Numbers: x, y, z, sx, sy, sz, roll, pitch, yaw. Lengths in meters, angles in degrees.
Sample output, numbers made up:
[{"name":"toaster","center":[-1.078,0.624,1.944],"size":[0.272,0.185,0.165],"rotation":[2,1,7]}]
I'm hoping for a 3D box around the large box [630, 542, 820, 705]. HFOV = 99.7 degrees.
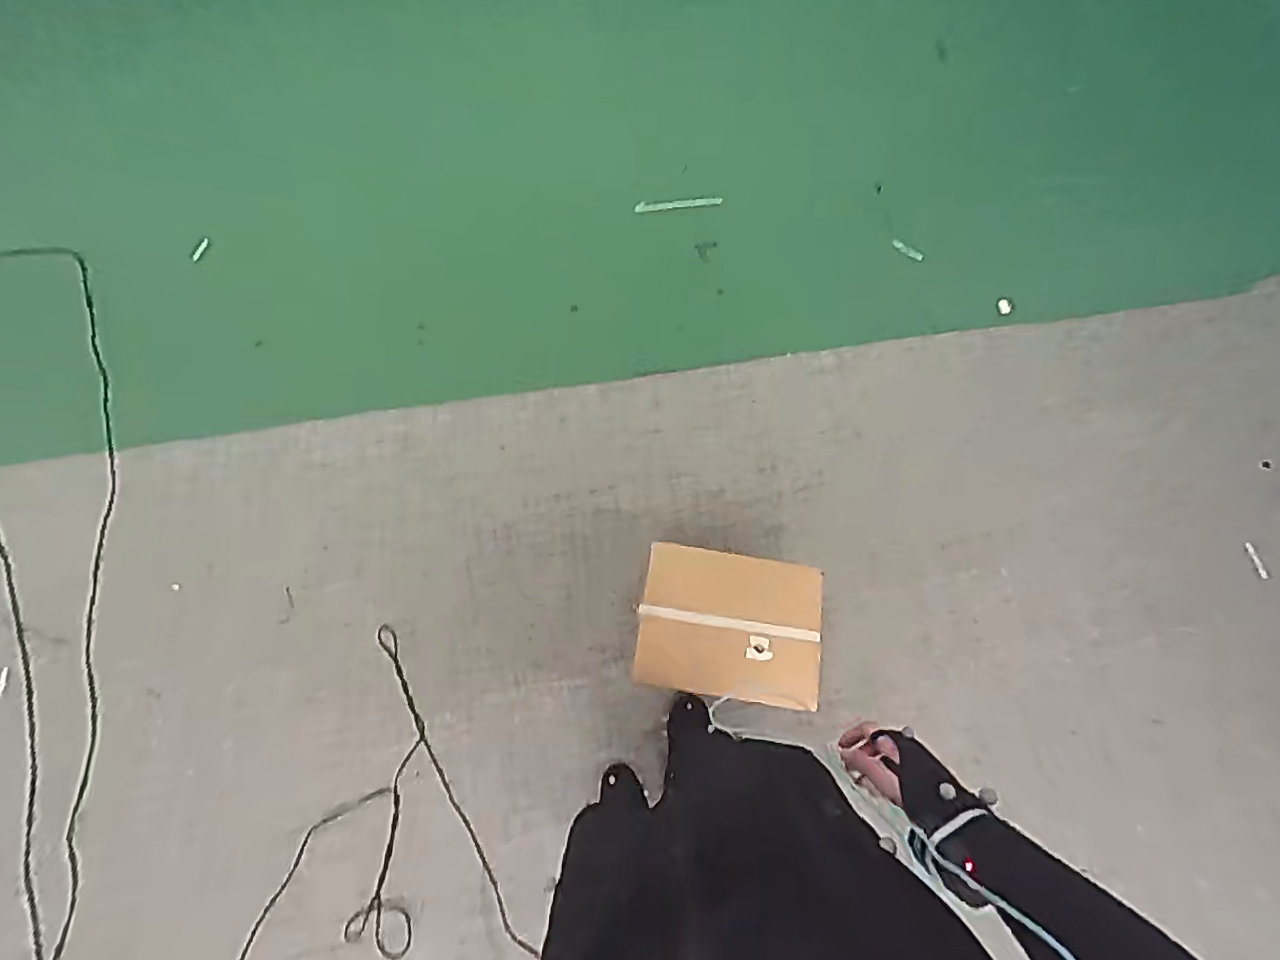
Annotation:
[{"name":"large box","center":[0.194,0.363,1.349],"size":[0.408,0.320,0.320],"rotation":[9,71,0]}]
